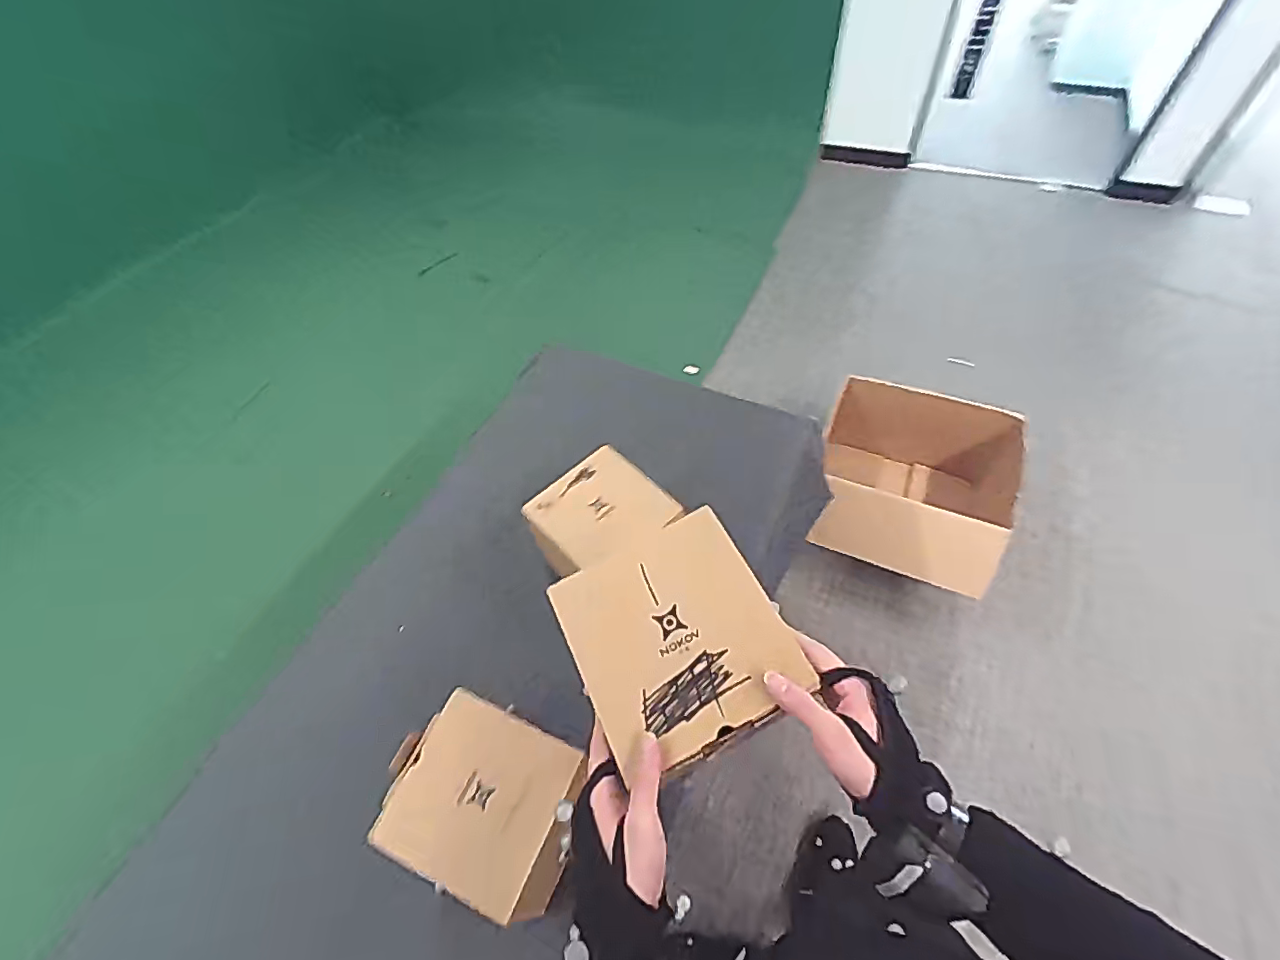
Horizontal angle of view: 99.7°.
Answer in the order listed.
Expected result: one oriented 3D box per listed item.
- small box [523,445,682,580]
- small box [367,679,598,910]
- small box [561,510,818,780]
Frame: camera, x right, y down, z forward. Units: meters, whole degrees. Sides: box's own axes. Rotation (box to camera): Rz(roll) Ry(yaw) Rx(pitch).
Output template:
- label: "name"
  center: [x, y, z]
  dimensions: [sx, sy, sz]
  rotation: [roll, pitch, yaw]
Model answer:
- label: "small box"
  center: [-0.050, 0.086, 0.842]
  dimensions: [0.168, 0.176, 0.179]
  rotation: [-38, 61, -20]
- label: "small box"
  center: [-0.166, 0.365, 0.634]
  dimensions: [0.179, 0.176, 0.168]
  rotation: [18, 58, 16]
- label: "small box"
  center: [0.047, 0.165, 0.526]
  dimensions: [0.168, 0.176, 0.179]
  rotation: [-26, 59, -5]
